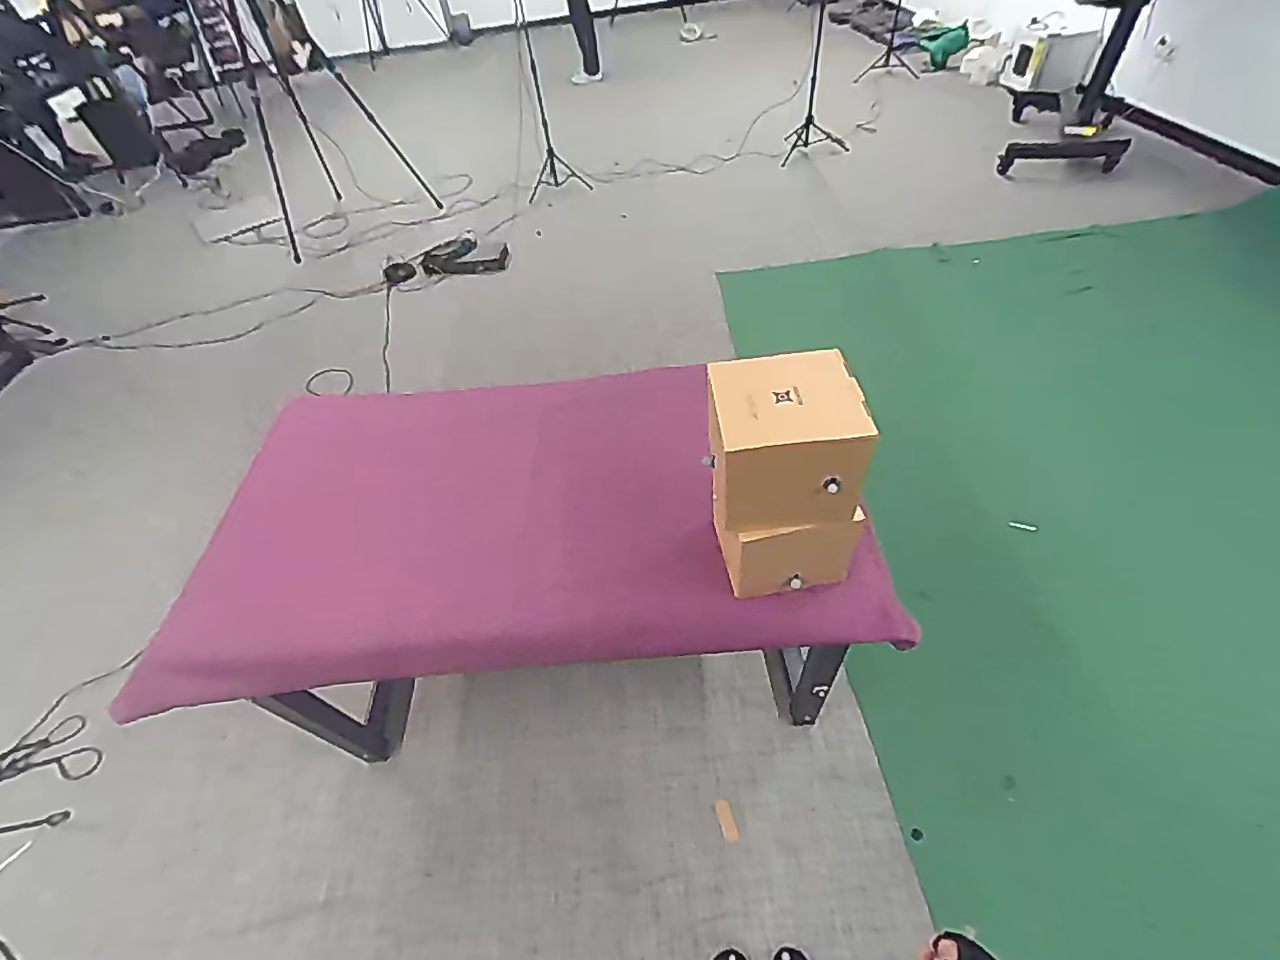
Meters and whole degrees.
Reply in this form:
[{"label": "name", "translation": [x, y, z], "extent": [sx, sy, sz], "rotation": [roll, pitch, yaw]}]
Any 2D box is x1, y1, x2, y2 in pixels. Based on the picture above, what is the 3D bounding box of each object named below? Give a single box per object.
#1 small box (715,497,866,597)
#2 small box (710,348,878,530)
[{"label": "small box", "translation": [0.218, 0.061, 0.837], "extent": [0.179, 0.176, 0.168], "rotation": [-10, 49, 0]}, {"label": "small box", "translation": [0.188, -0.050, 0.719], "extent": [0.179, 0.176, 0.168], "rotation": [-6, 49, 4]}]
